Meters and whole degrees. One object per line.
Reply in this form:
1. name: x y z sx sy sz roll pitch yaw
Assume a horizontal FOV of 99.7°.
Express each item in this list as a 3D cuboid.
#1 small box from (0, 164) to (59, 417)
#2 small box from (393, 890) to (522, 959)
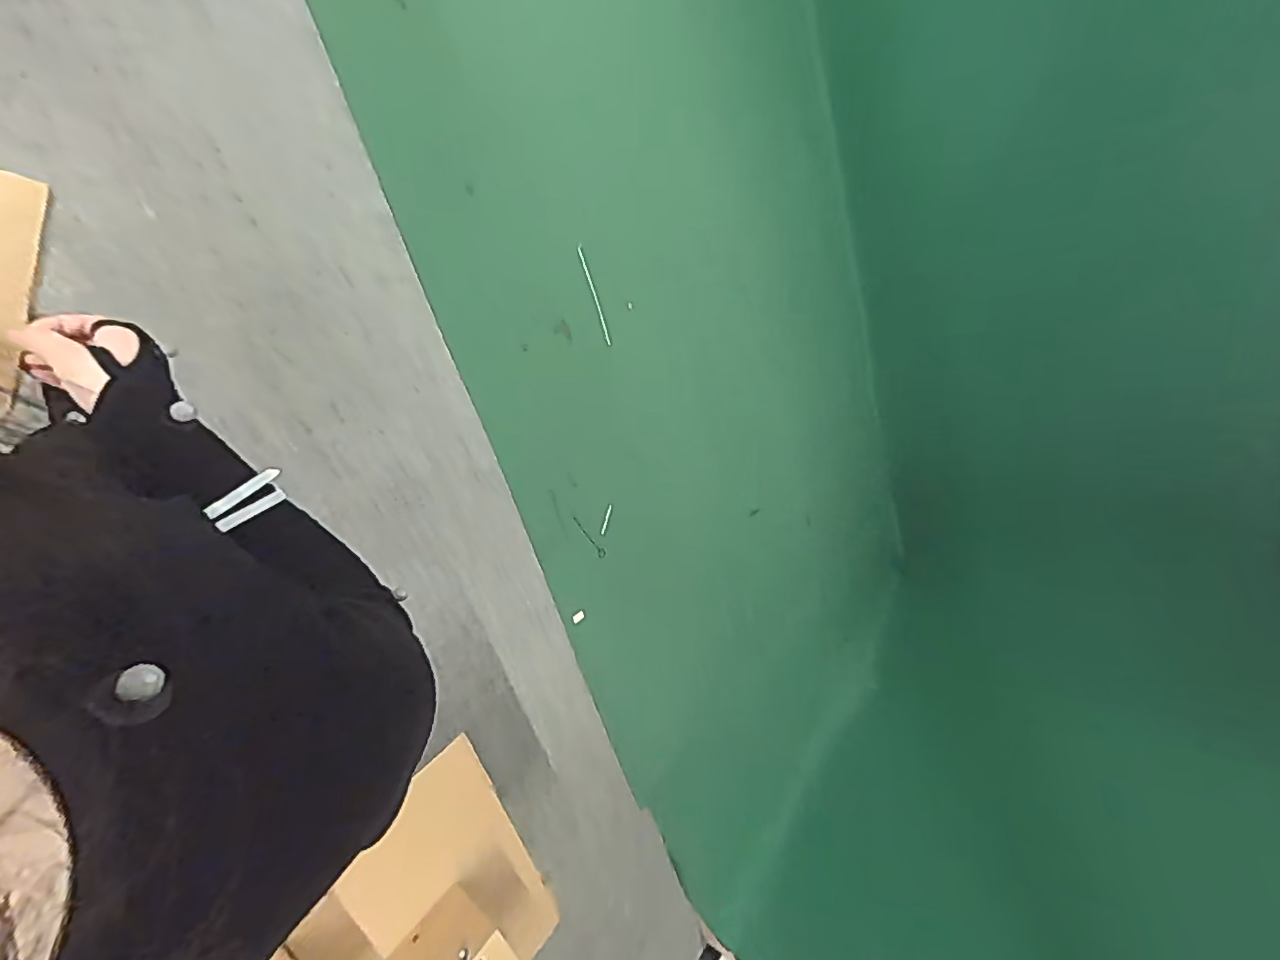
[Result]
1. small box: -0.546 -0.161 0.383 0.168 0.176 0.179 10 100 -47
2. small box: -0.341 0.952 1.046 0.168 0.176 0.179 -37 117 -41
